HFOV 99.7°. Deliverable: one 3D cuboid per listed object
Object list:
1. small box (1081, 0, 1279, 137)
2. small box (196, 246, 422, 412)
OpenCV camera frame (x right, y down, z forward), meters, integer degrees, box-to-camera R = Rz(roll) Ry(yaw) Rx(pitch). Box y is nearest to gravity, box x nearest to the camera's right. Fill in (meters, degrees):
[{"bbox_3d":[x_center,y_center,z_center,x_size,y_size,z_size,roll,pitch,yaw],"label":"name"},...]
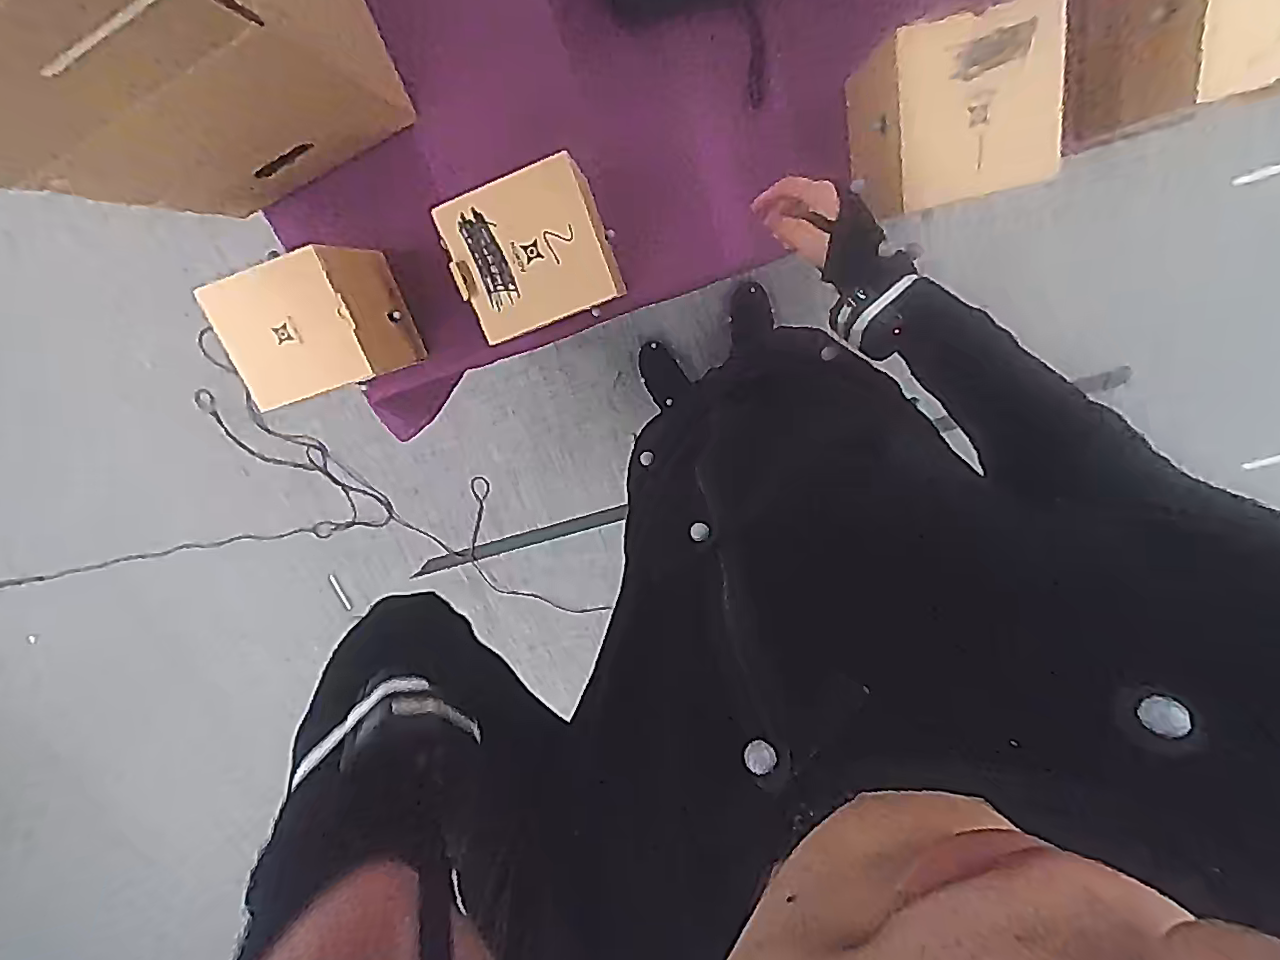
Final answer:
[{"bbox_3d":[0.628,-0.511,0.592,0.168,0.176,0.179,-10,109,7],"label":"small box"},{"bbox_3d":[-0.445,-0.211,0.759,0.179,0.176,0.168,-17,108,8],"label":"small box"}]
